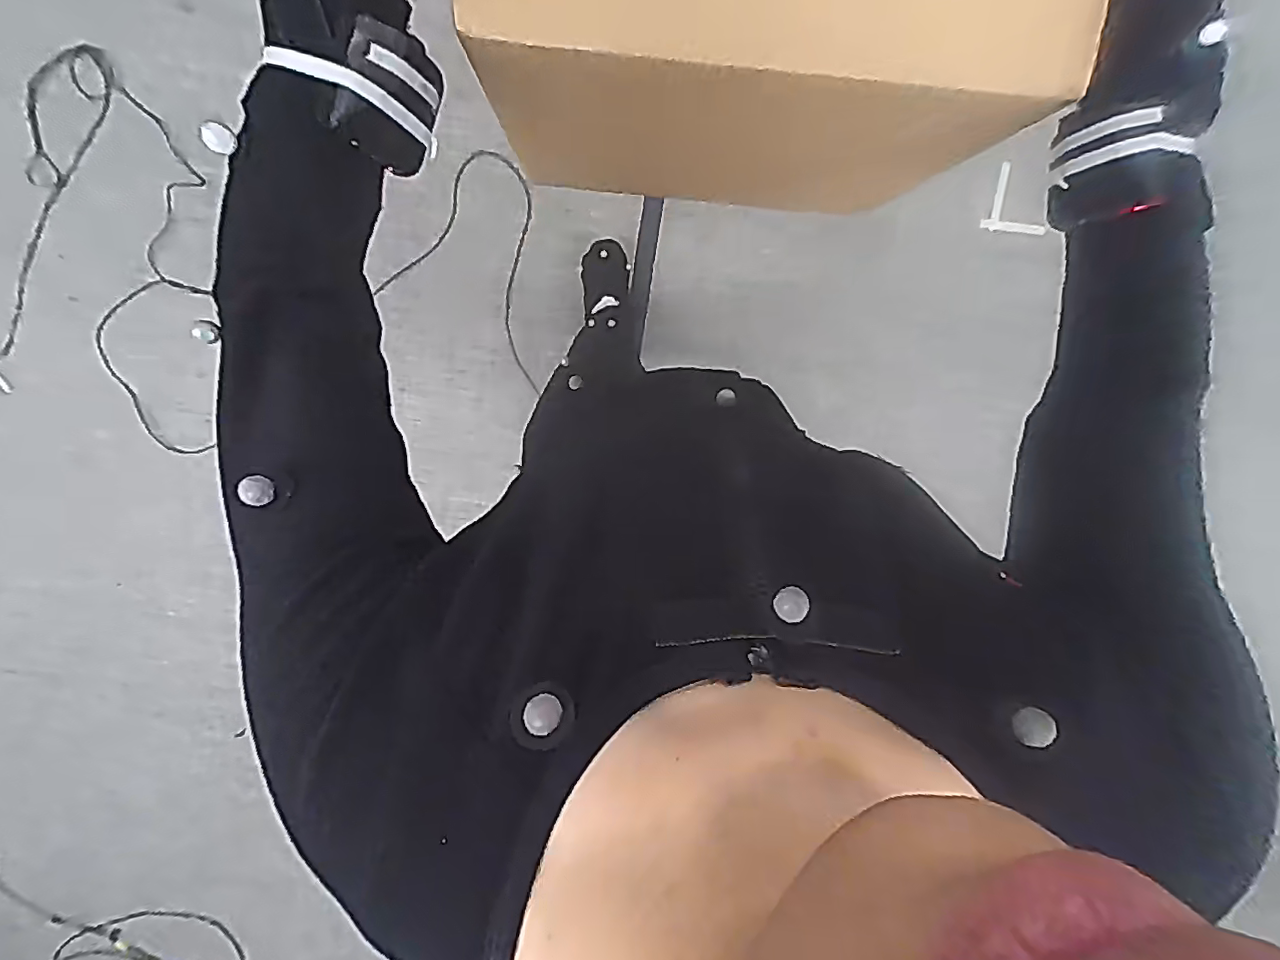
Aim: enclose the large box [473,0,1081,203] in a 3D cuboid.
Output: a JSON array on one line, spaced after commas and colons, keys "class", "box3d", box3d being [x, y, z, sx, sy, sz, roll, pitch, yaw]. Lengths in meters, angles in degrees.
[{"class": "large box", "box3d": [0.087, -0.454, 0.464, 0.408, 0.320, 0.320, 2, 104, -4]}]
